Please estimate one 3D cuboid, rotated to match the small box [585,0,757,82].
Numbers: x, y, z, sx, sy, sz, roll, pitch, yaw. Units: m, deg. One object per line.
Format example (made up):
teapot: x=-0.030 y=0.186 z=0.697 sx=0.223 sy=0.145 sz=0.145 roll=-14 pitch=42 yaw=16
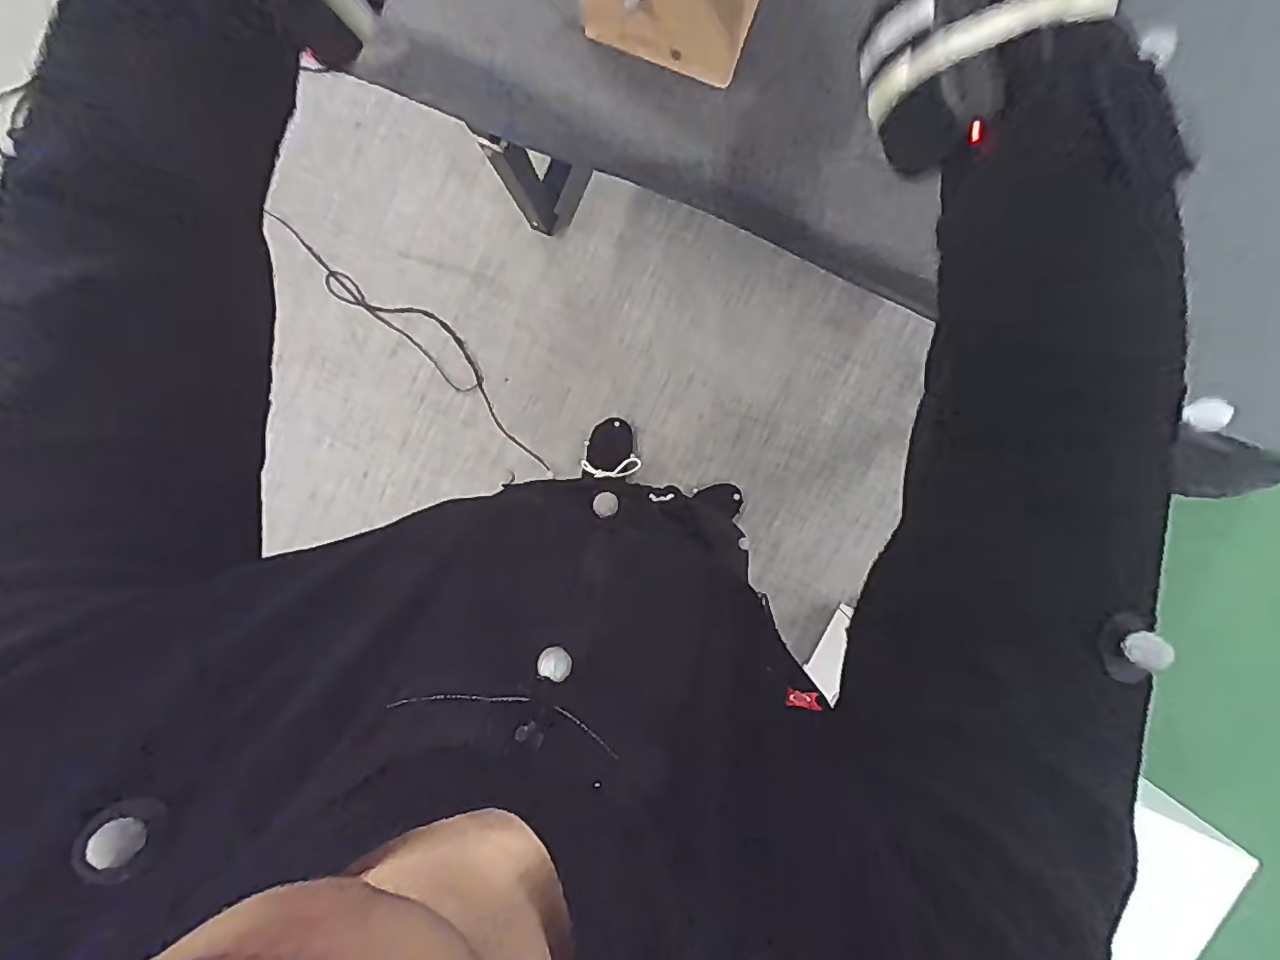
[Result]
small box: x=0.045 y=-0.526 z=0.504 sx=0.168 sy=0.176 sz=0.179 roll=20 pitch=96 yaw=-2
